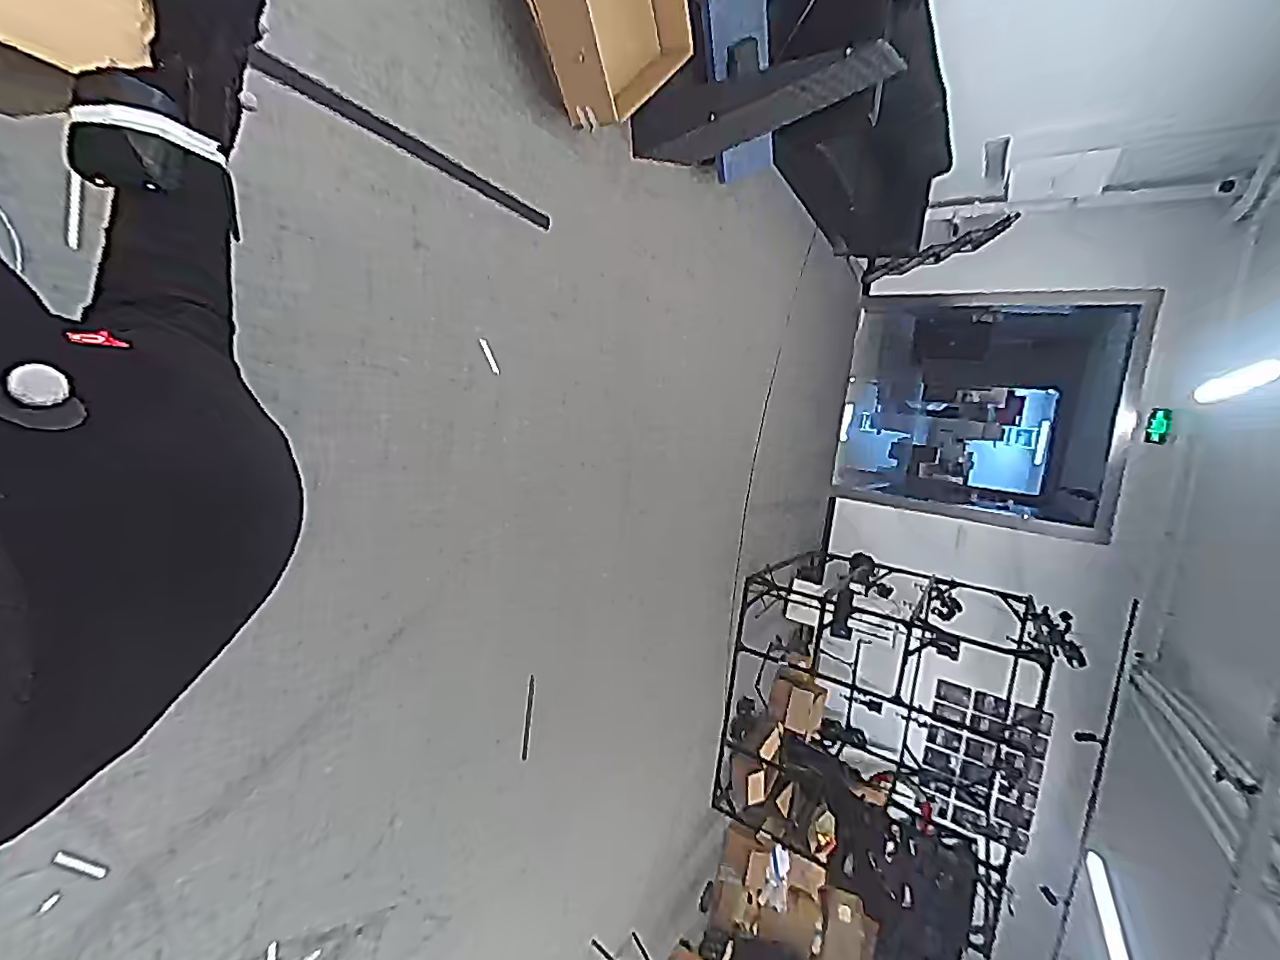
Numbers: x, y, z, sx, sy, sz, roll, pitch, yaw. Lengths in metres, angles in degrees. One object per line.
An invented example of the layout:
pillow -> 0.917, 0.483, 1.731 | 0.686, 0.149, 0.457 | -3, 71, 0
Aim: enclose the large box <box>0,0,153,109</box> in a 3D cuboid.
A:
large box -> -0.543, -0.448, 0.255 | 0.408, 0.320, 0.320 | -5, 111, -61
